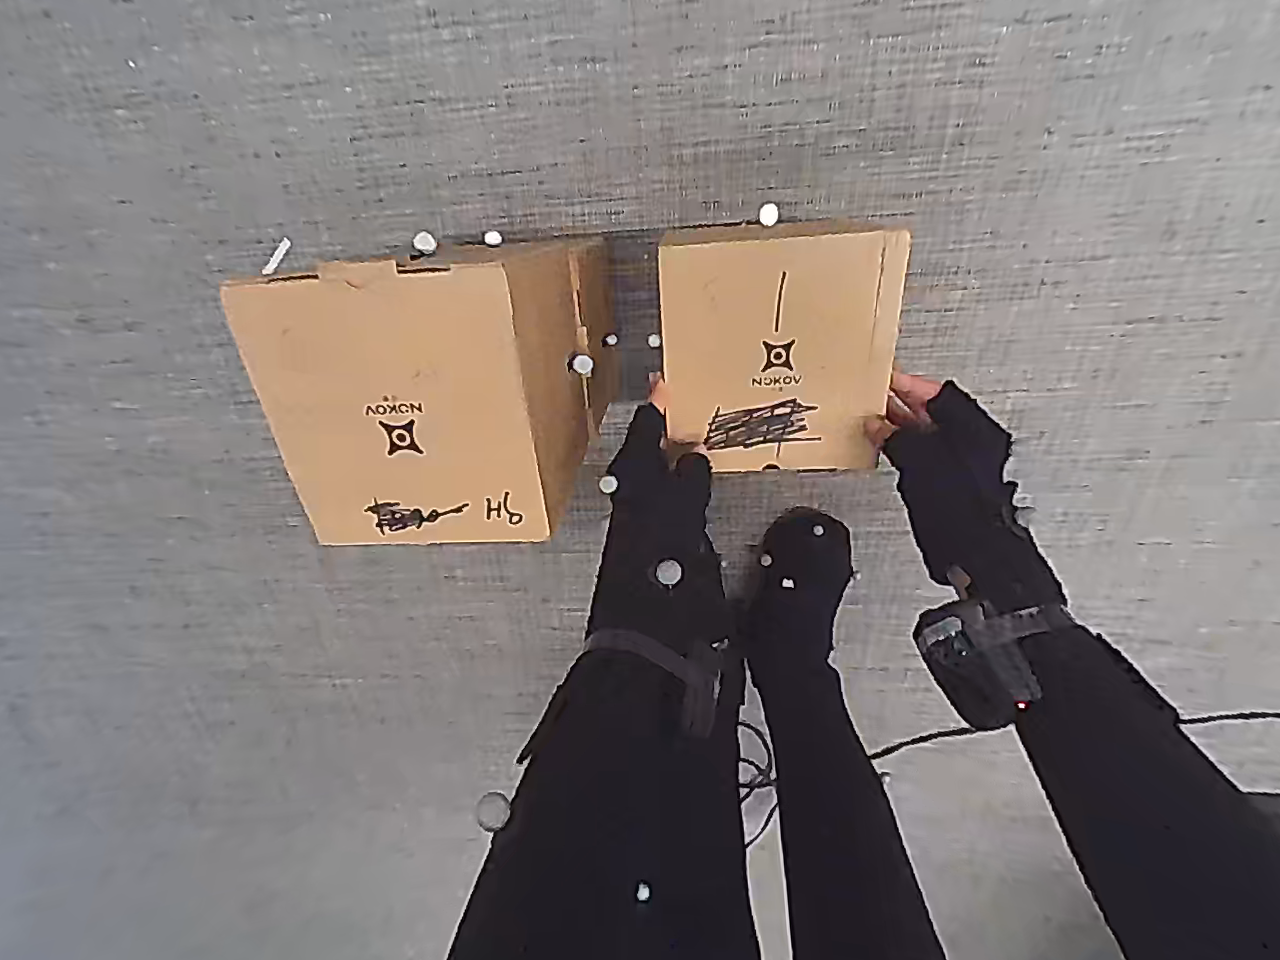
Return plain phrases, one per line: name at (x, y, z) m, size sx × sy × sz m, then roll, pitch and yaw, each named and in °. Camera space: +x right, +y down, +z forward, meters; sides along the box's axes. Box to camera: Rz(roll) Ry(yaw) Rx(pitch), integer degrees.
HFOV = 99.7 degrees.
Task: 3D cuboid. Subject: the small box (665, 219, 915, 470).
small box at (0.106, -0.123, 0.466) m, size 0.168 × 0.176 × 0.179 m, roll -1°, pitch 117°, yaw 3°
